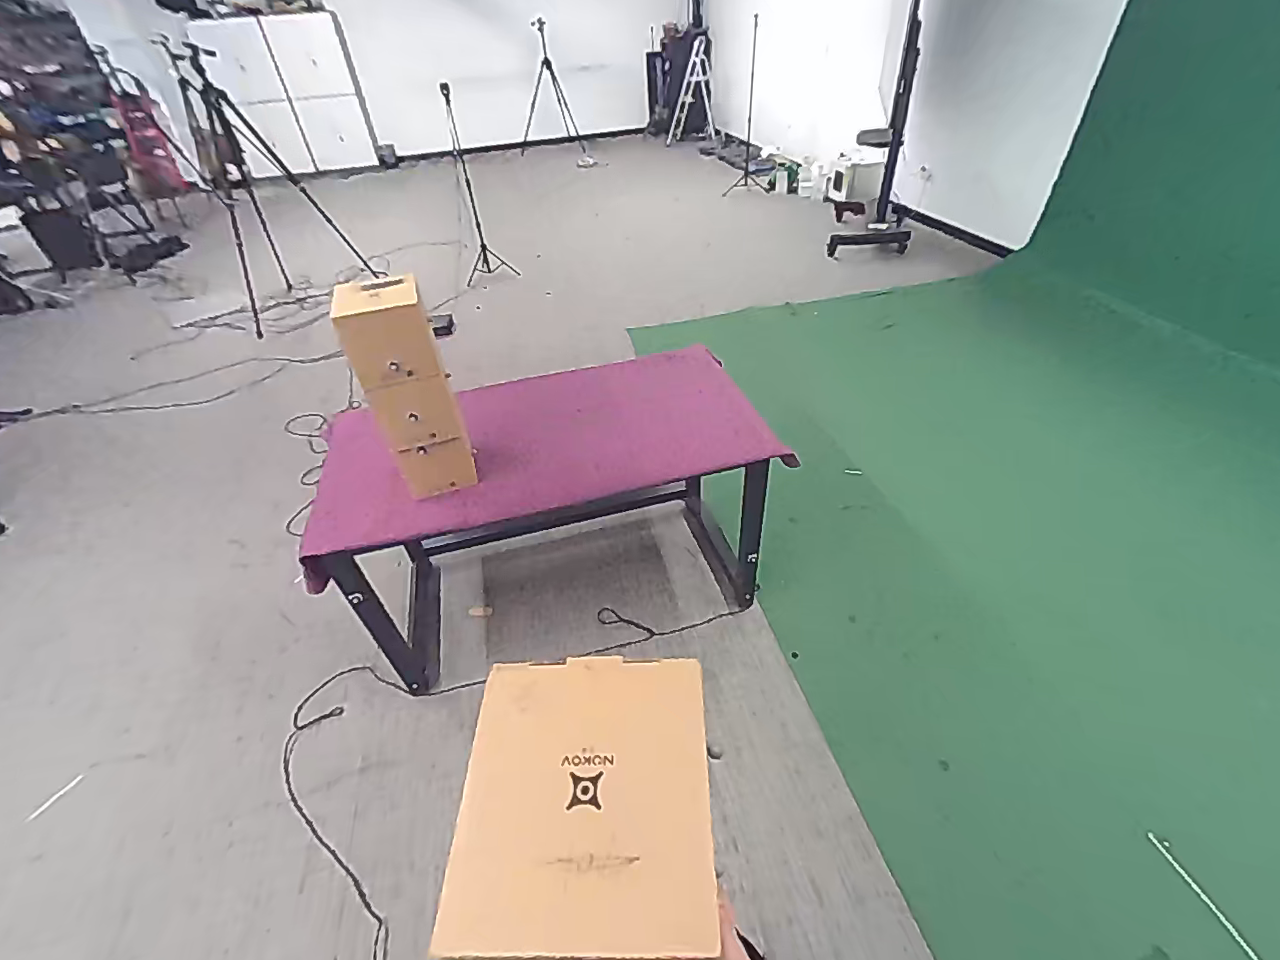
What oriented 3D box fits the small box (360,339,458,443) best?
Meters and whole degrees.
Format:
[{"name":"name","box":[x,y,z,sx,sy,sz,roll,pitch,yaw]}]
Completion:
[{"name":"small box","box":[-0.529,-0.202,1.255,0.168,0.176,0.179,-14,42,-13]}]

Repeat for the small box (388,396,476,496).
[{"name":"small box","box":[-0.527,-0.088,1.376,0.168,0.176,0.179,-16,42,-13]}]

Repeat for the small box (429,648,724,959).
[{"name":"small box","box":[-0.030,0.247,0.407,0.168,0.176,0.179,-2,45,3]}]
